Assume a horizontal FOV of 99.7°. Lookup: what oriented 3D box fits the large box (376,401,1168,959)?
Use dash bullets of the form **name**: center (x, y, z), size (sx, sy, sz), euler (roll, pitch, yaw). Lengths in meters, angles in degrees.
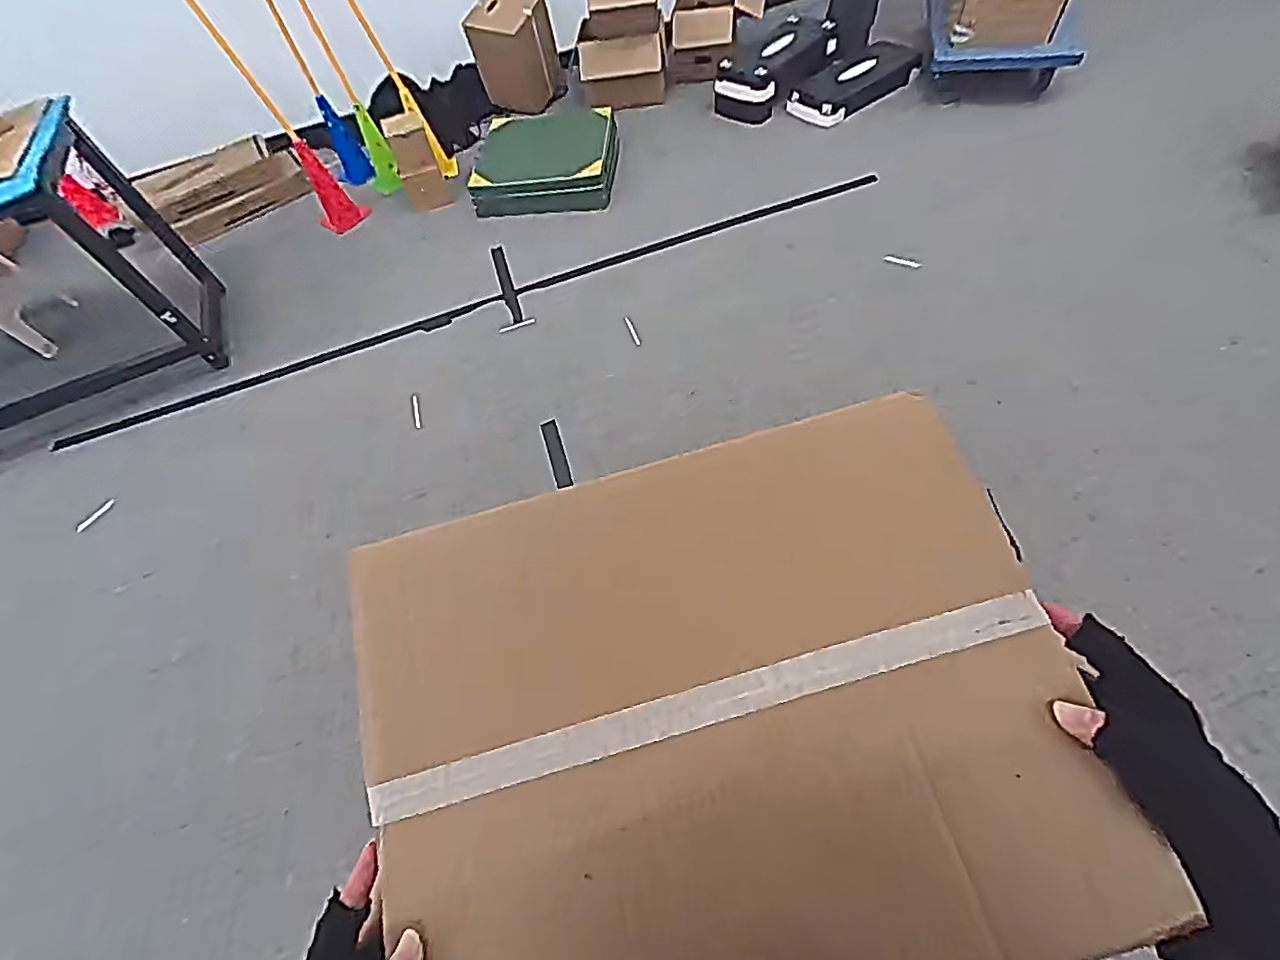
- **large box**: center (0.056, 0.188, 0.466), size (0.408, 0.320, 0.320), euler (-16, 70, -1)
